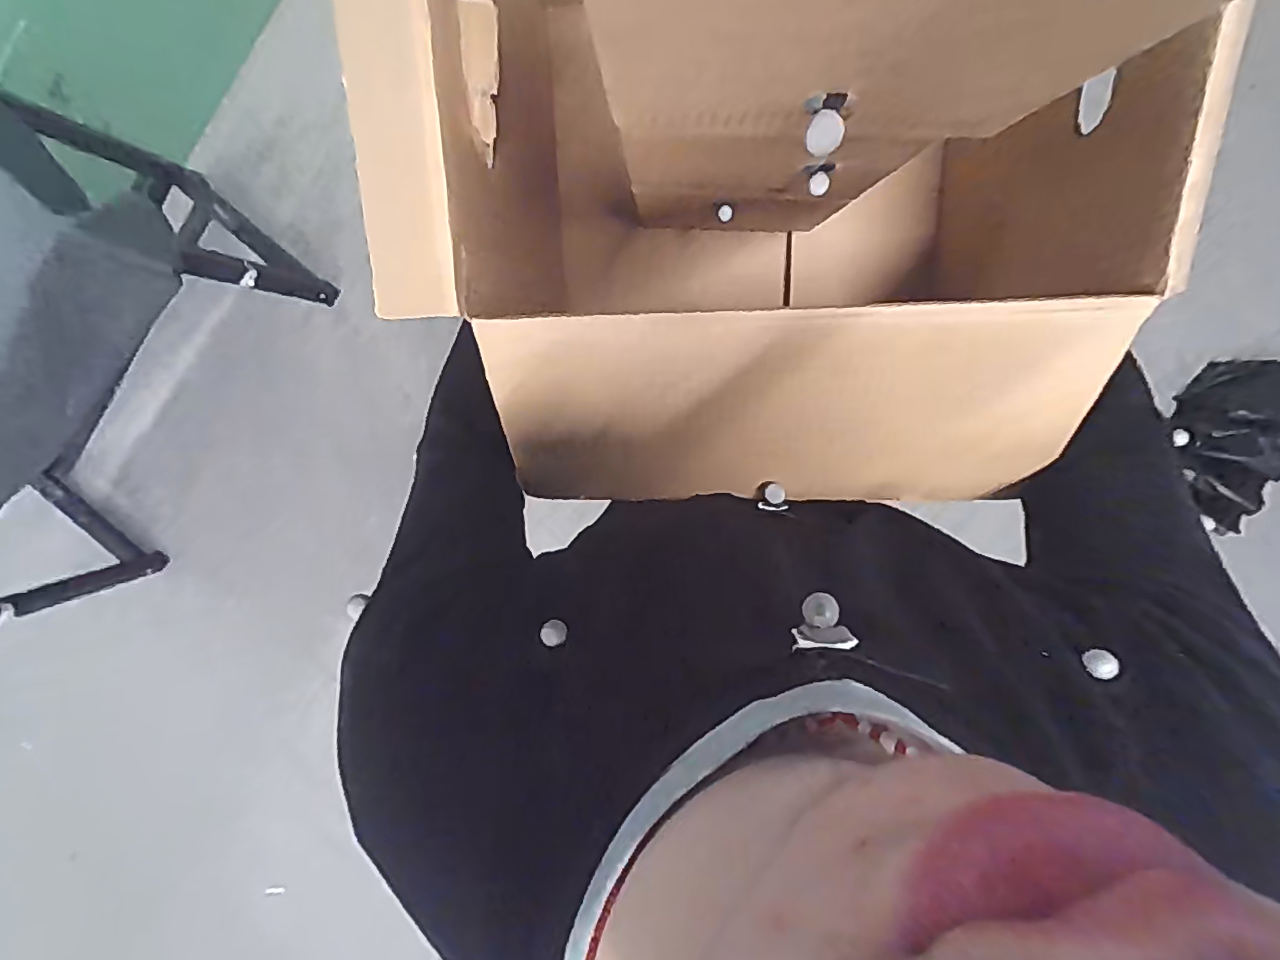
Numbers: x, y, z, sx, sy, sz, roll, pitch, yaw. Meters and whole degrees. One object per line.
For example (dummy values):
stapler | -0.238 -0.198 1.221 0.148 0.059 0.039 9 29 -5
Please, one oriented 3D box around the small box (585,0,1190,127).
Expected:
small box | 0.072 -0.215 0.143 0.179 0.176 0.168 1 106 1
